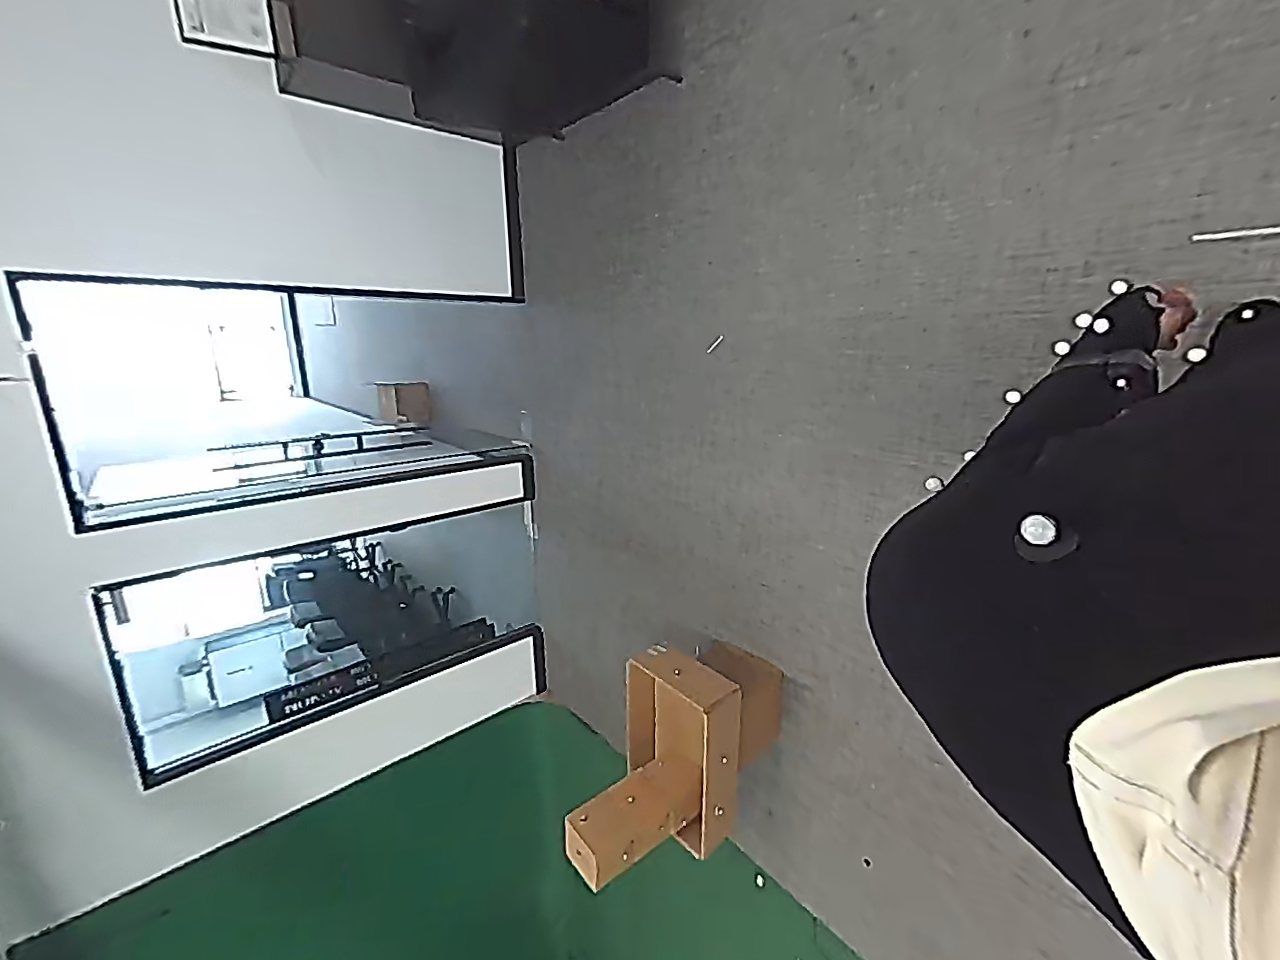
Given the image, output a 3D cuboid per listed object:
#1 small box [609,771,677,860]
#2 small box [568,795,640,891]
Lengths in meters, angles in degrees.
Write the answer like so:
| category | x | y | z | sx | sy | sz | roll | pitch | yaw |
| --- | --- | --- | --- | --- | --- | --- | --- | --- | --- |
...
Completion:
| category | x | y | z | sx | sy | sz | roll | pitch | yaw |
| --- | --- | --- | --- | --- | --- | --- | --- | --- | --- |
| small box | 0.006 | 1.157 | 1.888 | 0.179 | 0.176 | 0.168 | 19 | 115 | 47 |
| small box | -0.121 | 1.185 | 1.786 | 0.179 | 0.176 | 0.168 | 22 | 117 | 46 |
